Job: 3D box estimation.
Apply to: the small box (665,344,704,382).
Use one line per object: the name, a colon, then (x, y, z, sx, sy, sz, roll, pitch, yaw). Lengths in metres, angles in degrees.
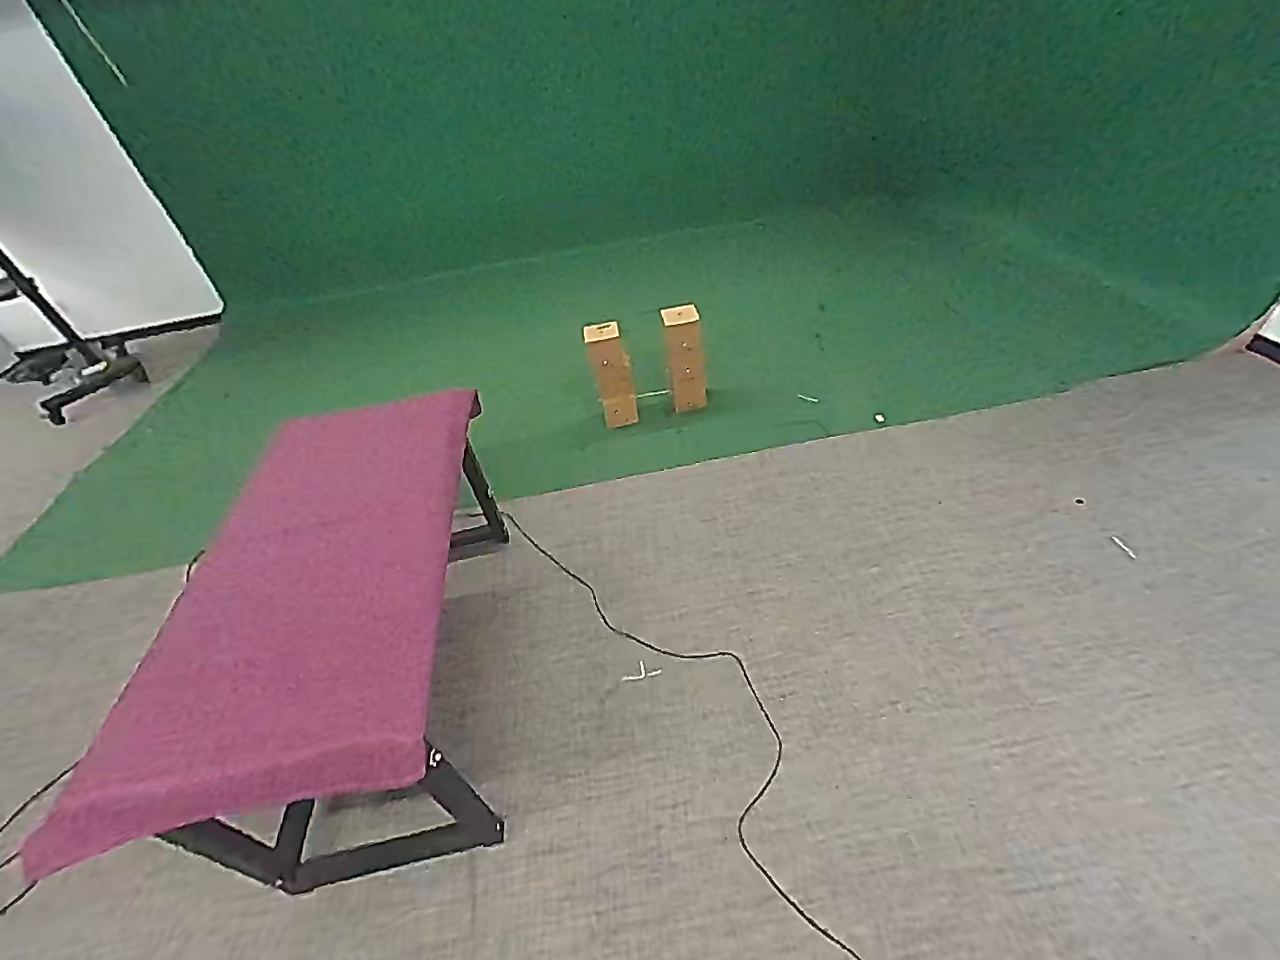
small box: (0.227, -0.611, 2.756, 0.168, 0.176, 0.179, -10, 43, -1)

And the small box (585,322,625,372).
small box: (-0.173, -0.647, 2.635, 0.168, 0.176, 0.179, -11, 41, 0)

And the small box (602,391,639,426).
small box: (-0.108, -0.398, 2.836, 0.168, 0.176, 0.179, -13, 41, -3)

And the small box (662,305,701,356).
small box: (0.202, -0.733, 2.648, 0.168, 0.176, 0.179, -10, 42, 1)

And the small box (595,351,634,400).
small box: (-0.133, -0.528, 2.741, 0.179, 0.176, 0.168, -14, 40, -3)
